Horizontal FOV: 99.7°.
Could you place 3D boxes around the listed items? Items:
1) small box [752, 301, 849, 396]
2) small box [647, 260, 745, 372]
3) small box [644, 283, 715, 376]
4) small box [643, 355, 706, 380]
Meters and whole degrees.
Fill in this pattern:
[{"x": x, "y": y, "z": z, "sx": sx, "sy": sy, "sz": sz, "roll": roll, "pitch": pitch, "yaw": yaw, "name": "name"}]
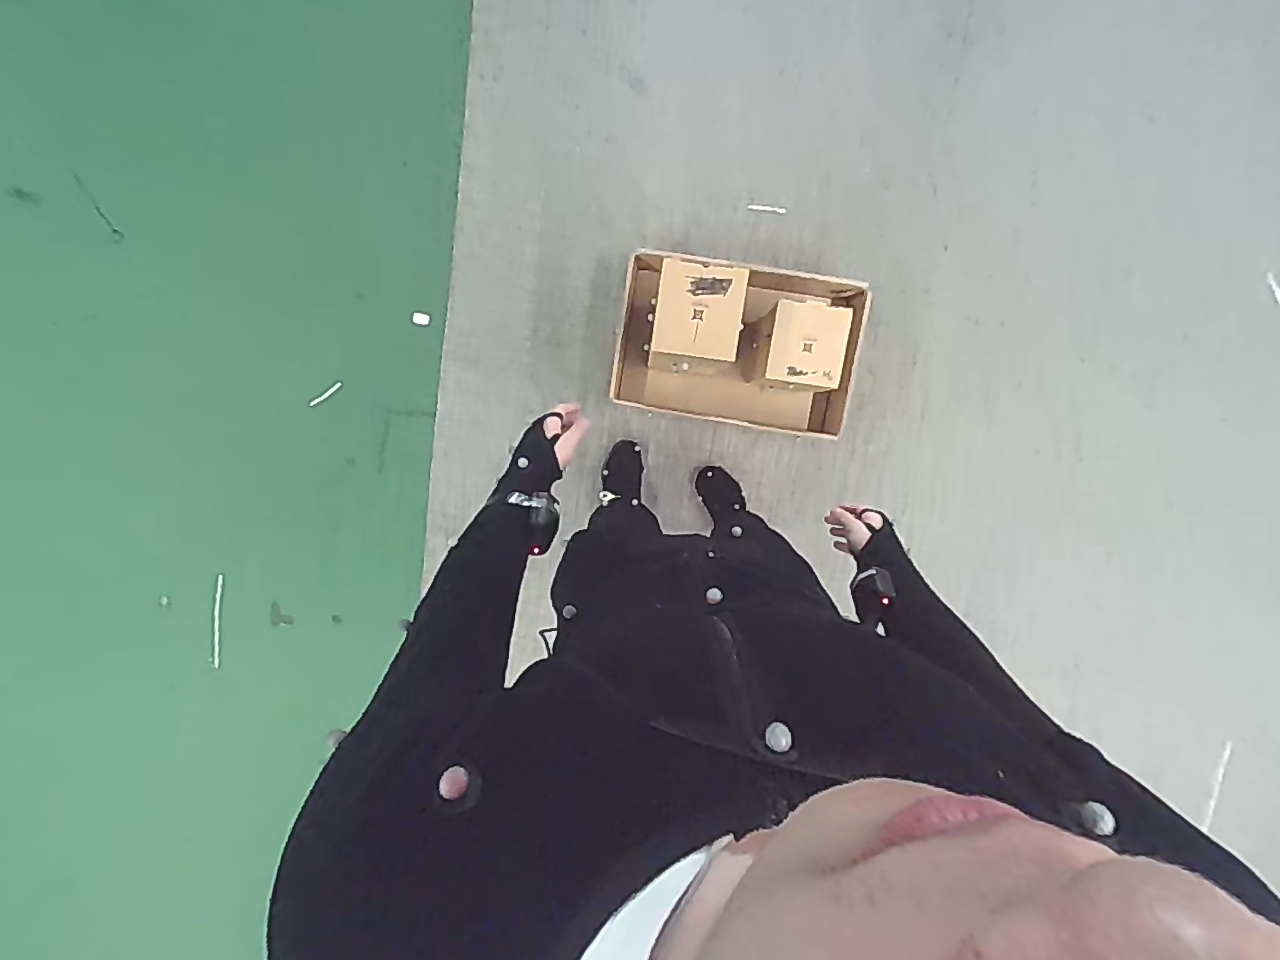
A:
[{"x": 0.365, "y": -0.299, "z": 1.262, "sx": 0.168, "sy": 0.176, "sz": 0.179, "roll": 9, "pitch": 96, "yaw": 2, "name": "small box"}, {"x": 0.105, "y": -0.325, "z": 1.101, "sx": 0.168, "sy": 0.176, "sz": 0.179, "roll": 8, "pitch": 97, "yaw": 0, "name": "small box"}, {"x": 0.104, "y": -0.344, "z": 1.265, "sx": 0.168, "sy": 0.176, "sz": 0.179, "roll": 8, "pitch": 96, "yaw": 0, "name": "small box"}, {"x": 0.104, "y": -0.364, "z": 1.425, "sx": 0.168, "sy": 0.176, "sz": 0.179, "roll": 9, "pitch": 97, "yaw": 0, "name": "small box"}]
